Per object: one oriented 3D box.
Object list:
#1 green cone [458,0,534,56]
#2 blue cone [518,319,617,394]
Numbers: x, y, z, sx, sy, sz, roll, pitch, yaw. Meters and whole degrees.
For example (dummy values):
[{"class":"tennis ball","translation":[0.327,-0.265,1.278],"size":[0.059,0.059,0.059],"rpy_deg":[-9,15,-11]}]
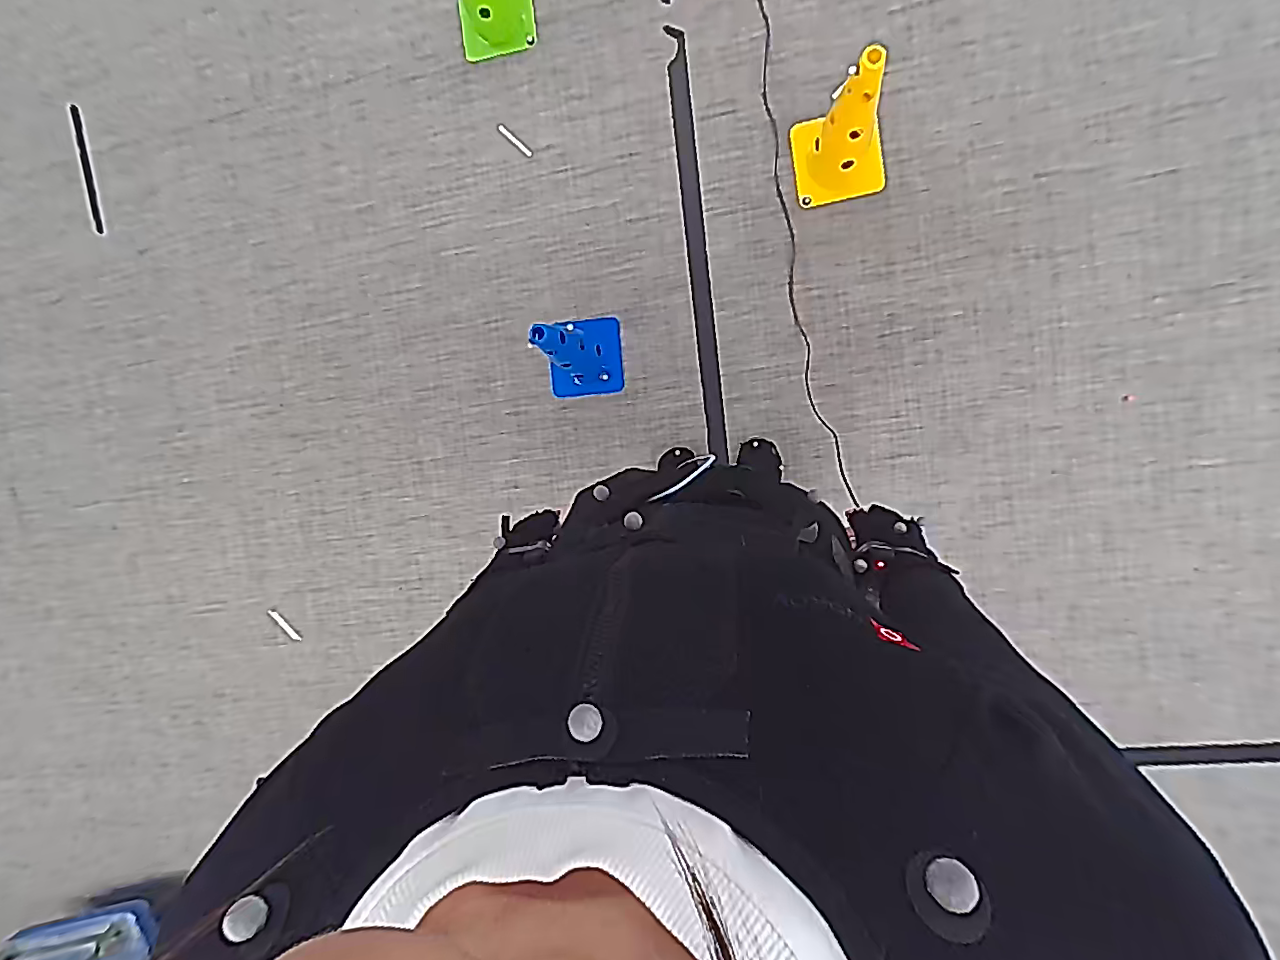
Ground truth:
[{"class":"green cone","translation":[-0.408,-1.208,1.231],"size":[0.202,0.368,0.200],"rpy_deg":[-6,94,12]},{"class":"blue cone","translation":[-0.188,-0.317,1.286],"size":[0.192,0.380,0.193],"rpy_deg":[-2,94,11]}]
